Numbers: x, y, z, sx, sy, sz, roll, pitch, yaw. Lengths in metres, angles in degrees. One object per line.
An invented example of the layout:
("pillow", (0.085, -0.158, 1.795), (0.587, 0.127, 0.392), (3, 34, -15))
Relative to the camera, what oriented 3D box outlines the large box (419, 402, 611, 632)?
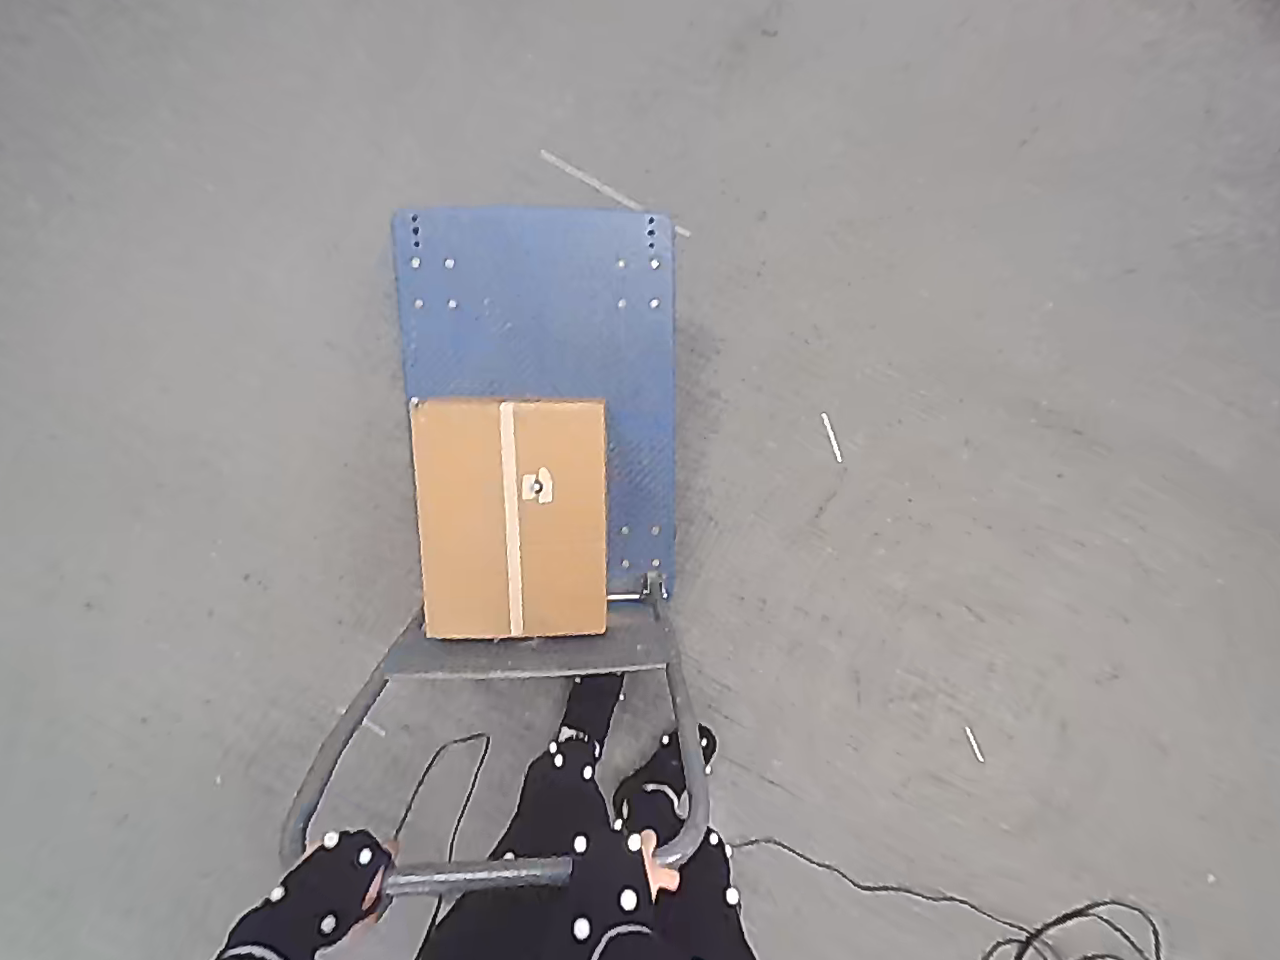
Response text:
("large box", (-0.218, 0.050, 1.078), (0.320, 0.320, 0.408), (0, 99, -3))
